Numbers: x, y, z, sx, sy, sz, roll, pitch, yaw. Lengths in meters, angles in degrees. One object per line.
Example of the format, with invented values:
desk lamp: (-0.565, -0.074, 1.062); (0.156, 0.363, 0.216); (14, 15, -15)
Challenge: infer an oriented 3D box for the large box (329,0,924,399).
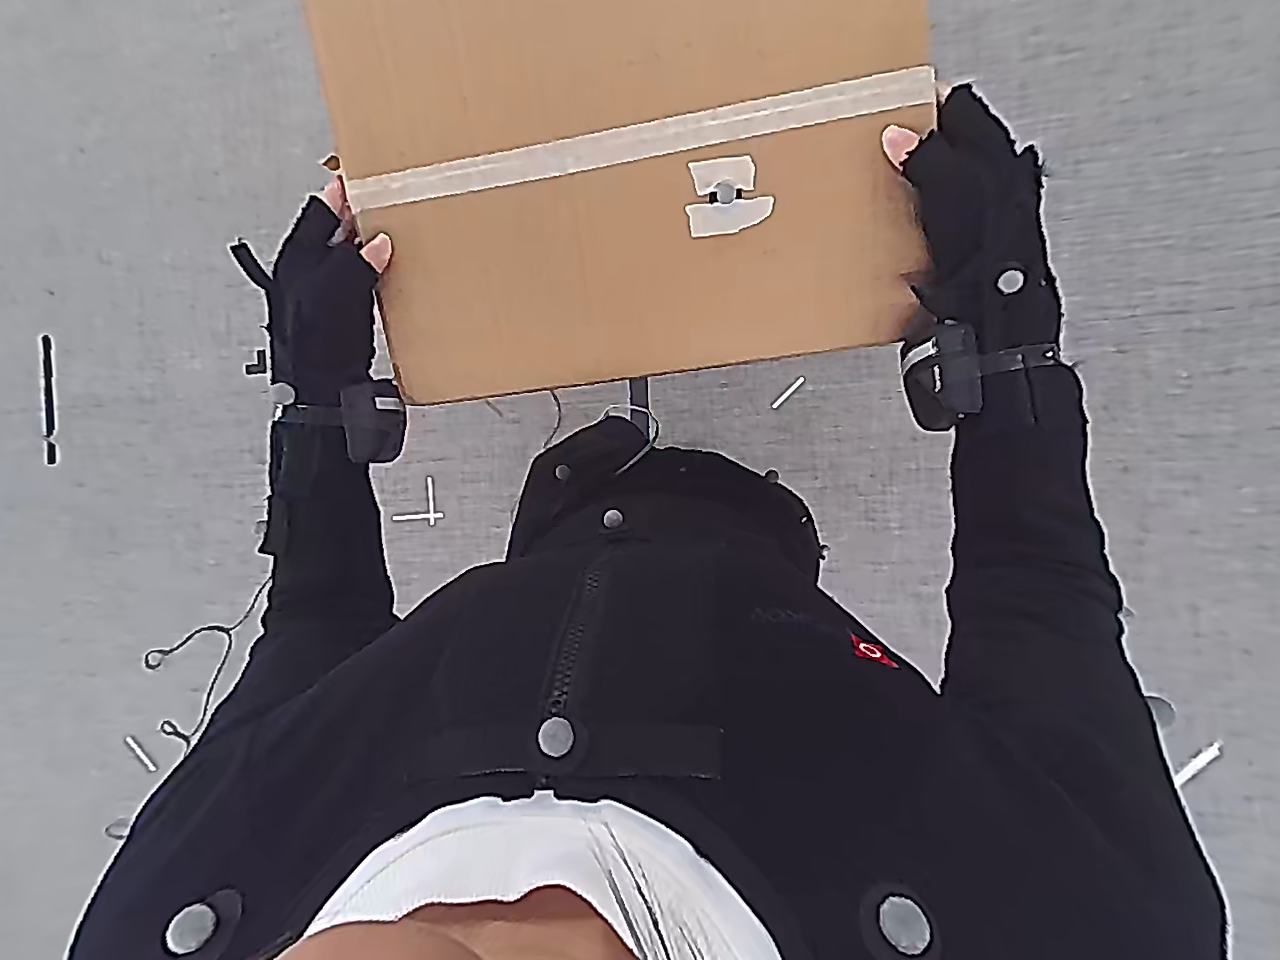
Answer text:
large box: (0.005, -0.273, 0.533); (0.408, 0.320, 0.320); (-7, 104, 7)
